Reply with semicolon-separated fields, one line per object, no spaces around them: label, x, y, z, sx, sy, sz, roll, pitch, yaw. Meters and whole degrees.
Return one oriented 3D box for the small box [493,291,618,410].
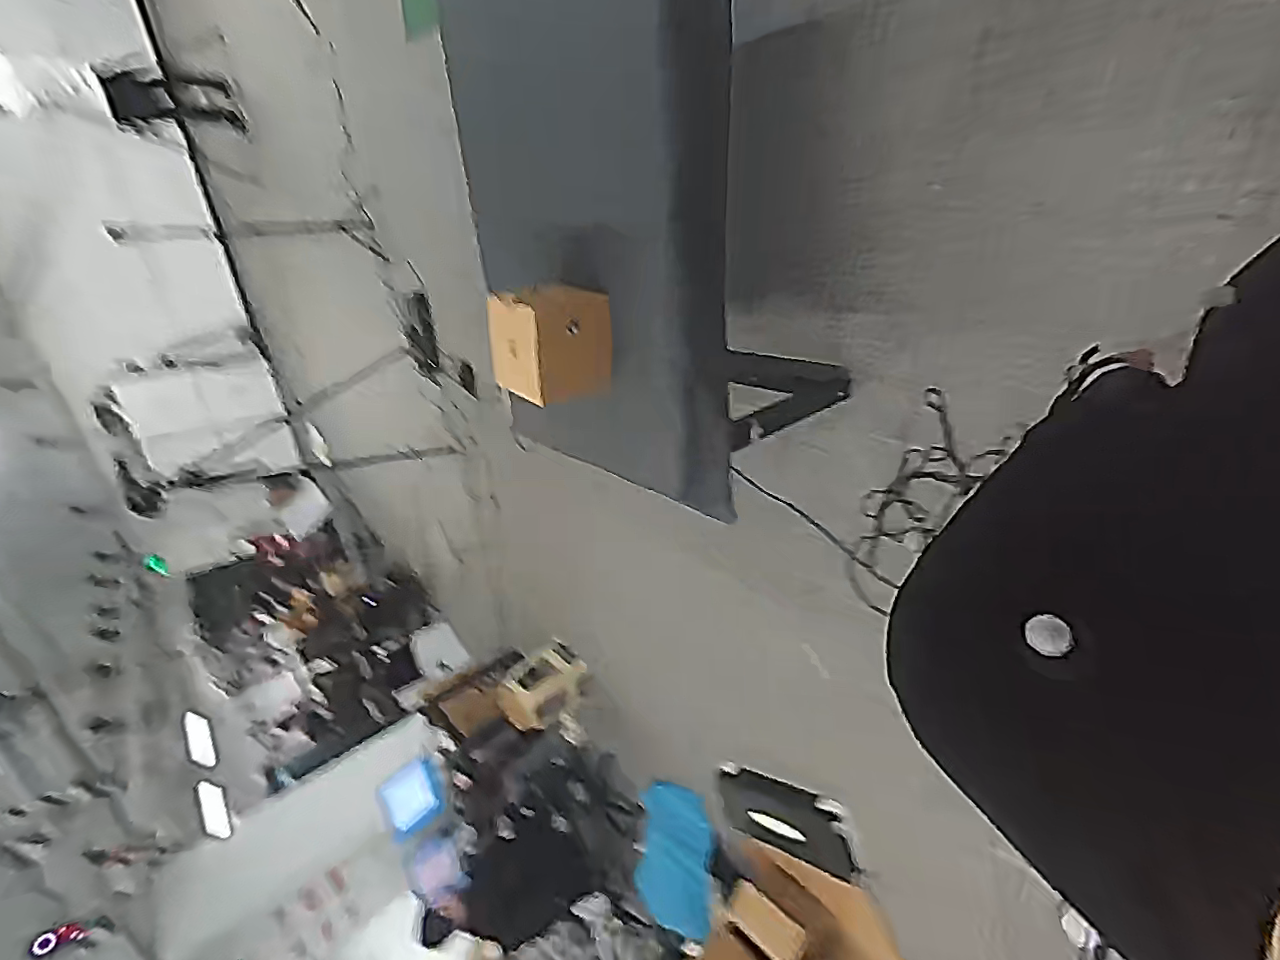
small box;-0.156;-0.256;1.033;0.168;0.176;0.179;28;130;42
